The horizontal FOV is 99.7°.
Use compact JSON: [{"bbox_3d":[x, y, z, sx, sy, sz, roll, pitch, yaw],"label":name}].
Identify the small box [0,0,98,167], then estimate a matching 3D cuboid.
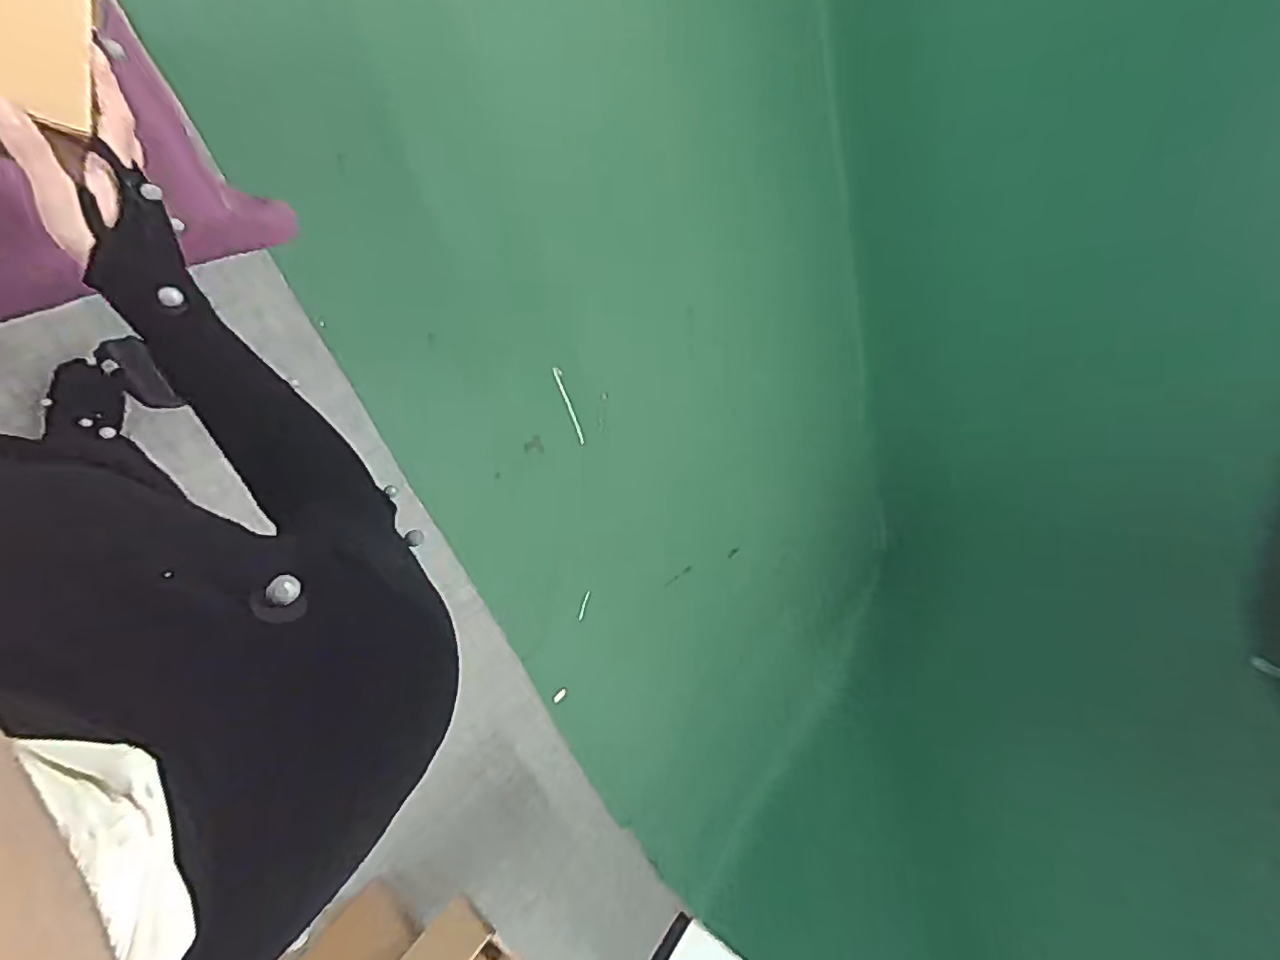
[{"bbox_3d":[-0.506,-0.360,0.386,0.168,0.176,0.179,1,101,-45],"label":"small box"}]
